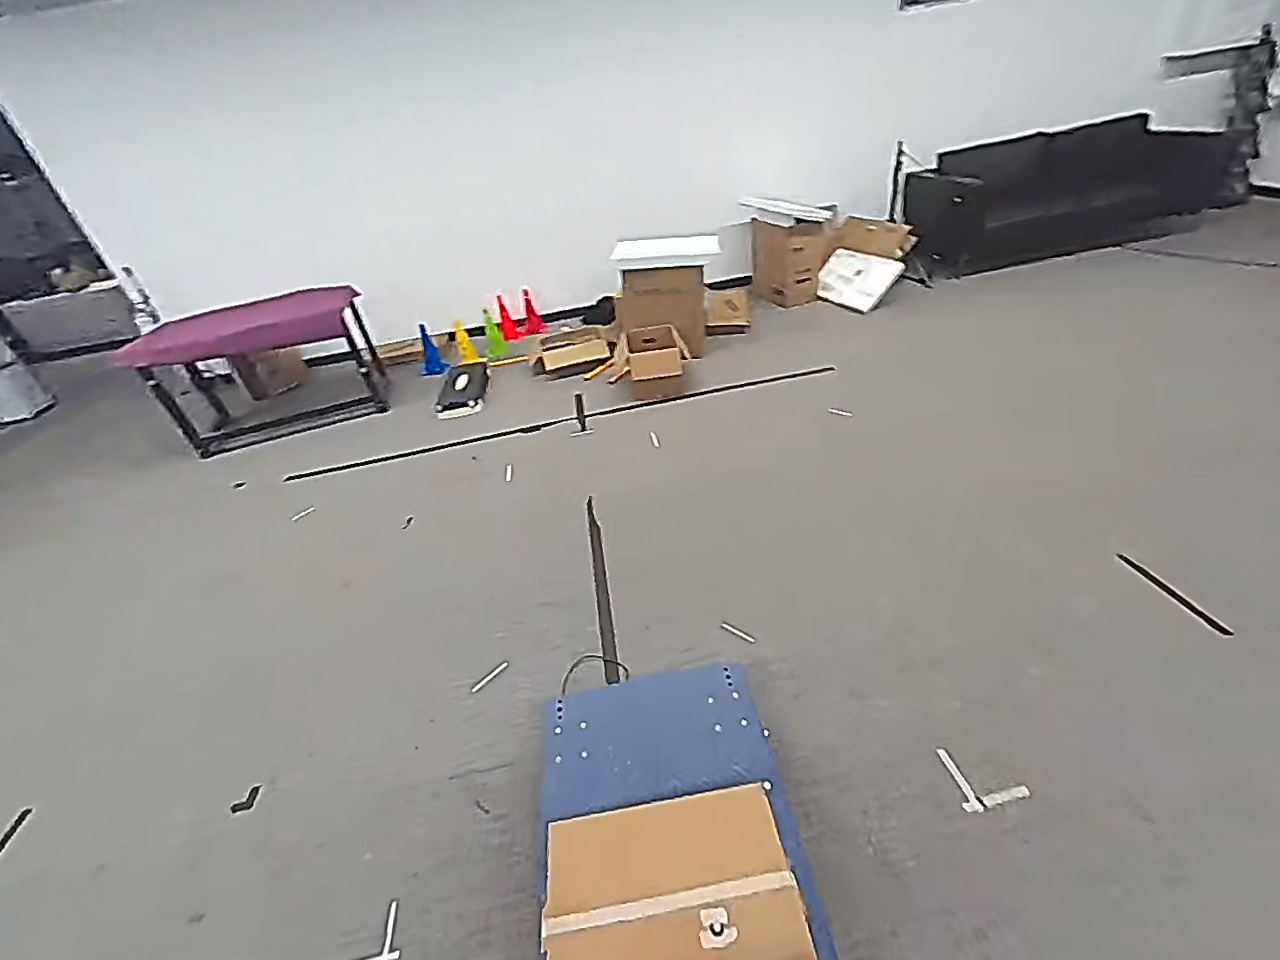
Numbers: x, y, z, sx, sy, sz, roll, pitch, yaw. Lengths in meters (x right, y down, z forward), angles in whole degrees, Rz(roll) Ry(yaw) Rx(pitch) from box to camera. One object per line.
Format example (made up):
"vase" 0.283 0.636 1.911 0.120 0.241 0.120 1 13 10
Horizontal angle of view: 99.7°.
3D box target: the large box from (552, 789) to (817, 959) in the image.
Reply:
"large box" 0.070 0.813 0.956 0.408 0.320 0.320 -9 35 -2
